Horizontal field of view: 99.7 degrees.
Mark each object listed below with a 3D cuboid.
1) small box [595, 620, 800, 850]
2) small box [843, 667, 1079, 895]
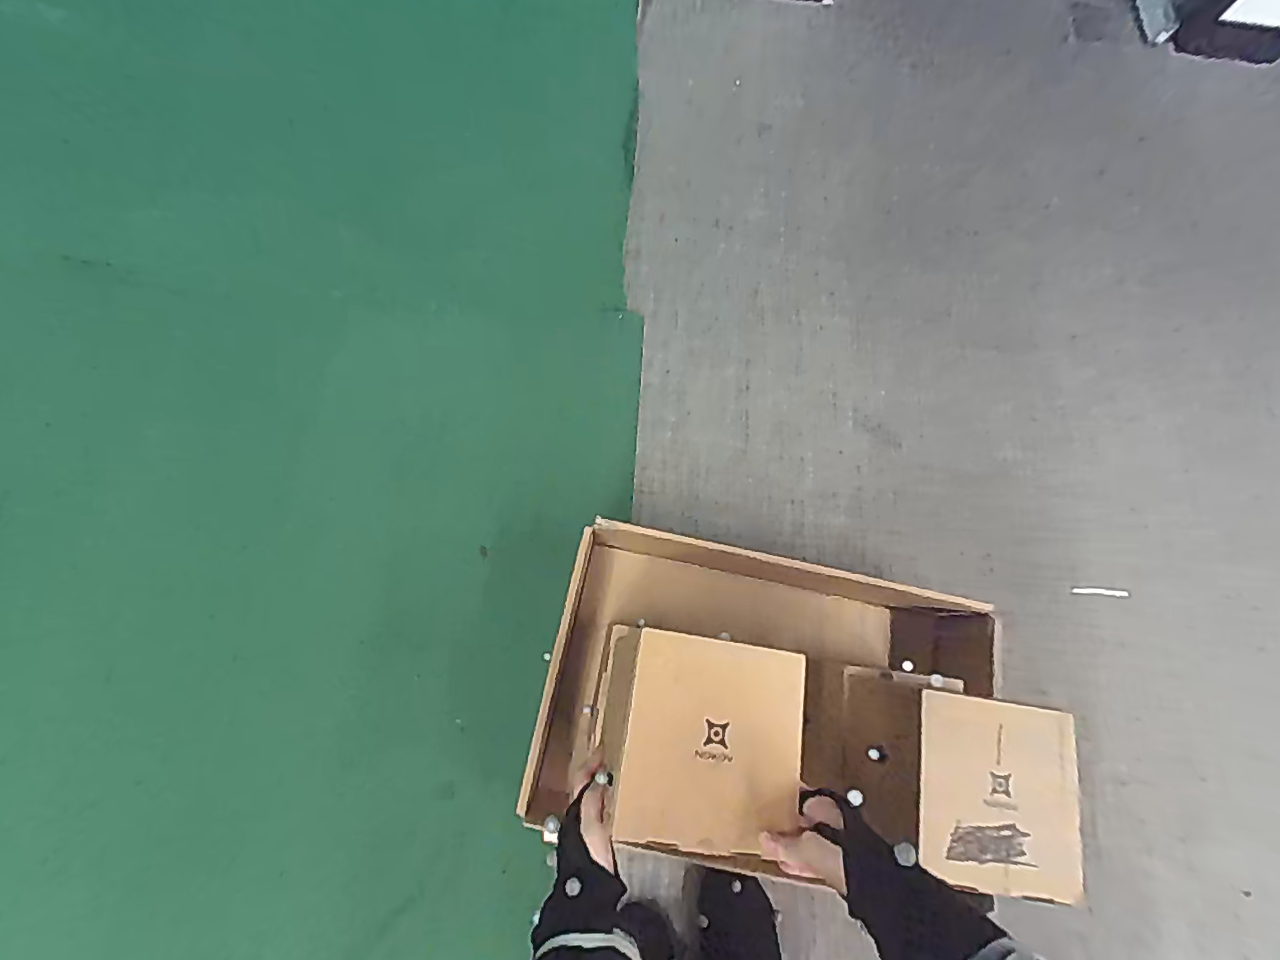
[{"bbox_3d":[0.050,0.251,0.567,0.168,0.176,0.179,11,72,-7],"label":"small box"},{"bbox_3d":[0.344,0.318,0.609,0.168,0.176,0.179,9,74,-1],"label":"small box"}]
